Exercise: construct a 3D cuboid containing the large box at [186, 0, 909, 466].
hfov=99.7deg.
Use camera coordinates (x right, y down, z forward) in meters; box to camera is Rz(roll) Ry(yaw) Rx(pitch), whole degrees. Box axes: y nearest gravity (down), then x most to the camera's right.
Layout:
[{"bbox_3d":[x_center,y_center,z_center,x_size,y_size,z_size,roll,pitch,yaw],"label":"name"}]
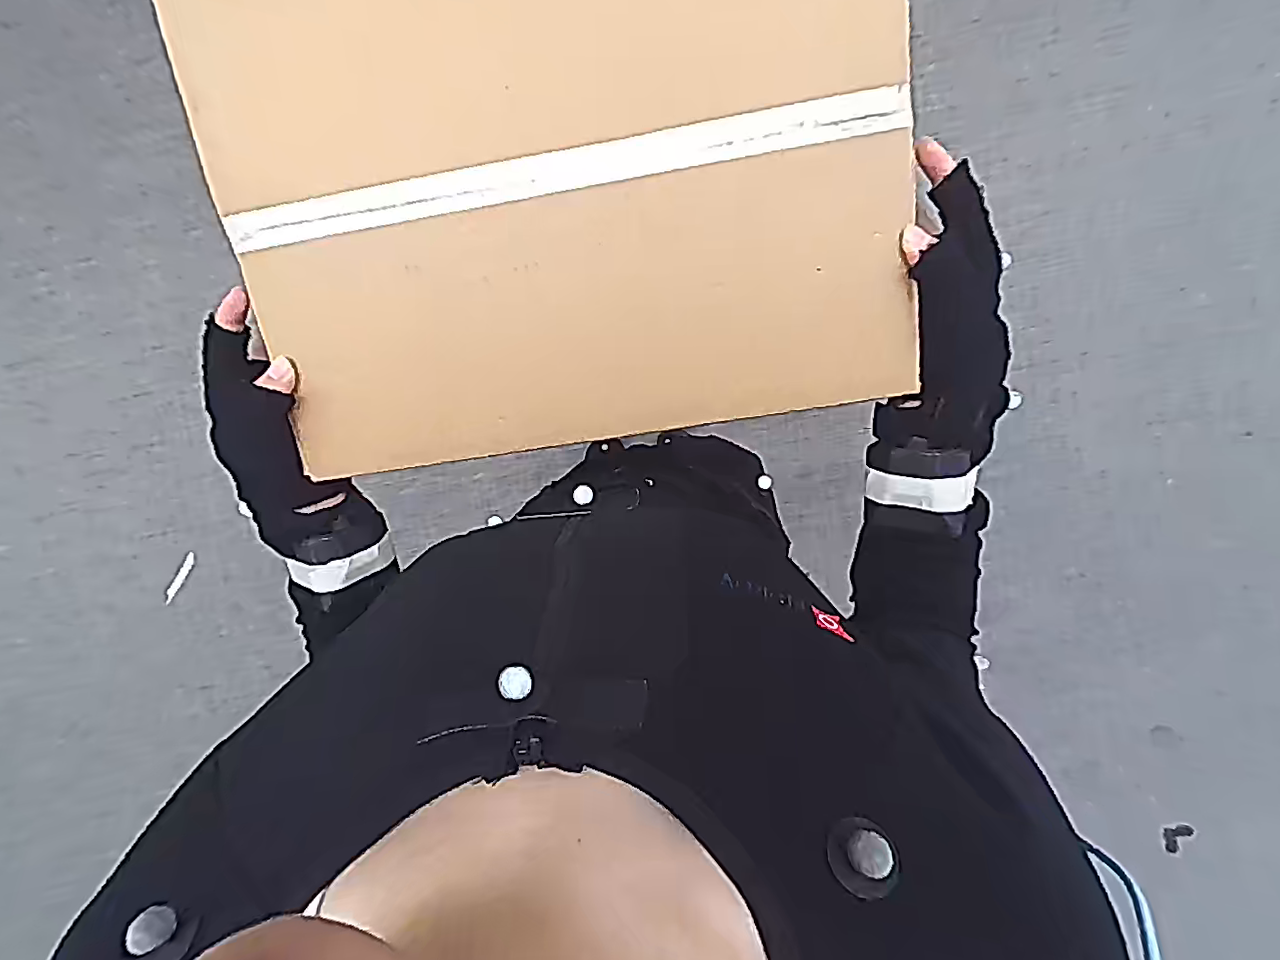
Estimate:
[{"bbox_3d":[-0.042,-0.220,0.470,0.408,0.320,0.320,-8,105,4],"label":"large box"}]
